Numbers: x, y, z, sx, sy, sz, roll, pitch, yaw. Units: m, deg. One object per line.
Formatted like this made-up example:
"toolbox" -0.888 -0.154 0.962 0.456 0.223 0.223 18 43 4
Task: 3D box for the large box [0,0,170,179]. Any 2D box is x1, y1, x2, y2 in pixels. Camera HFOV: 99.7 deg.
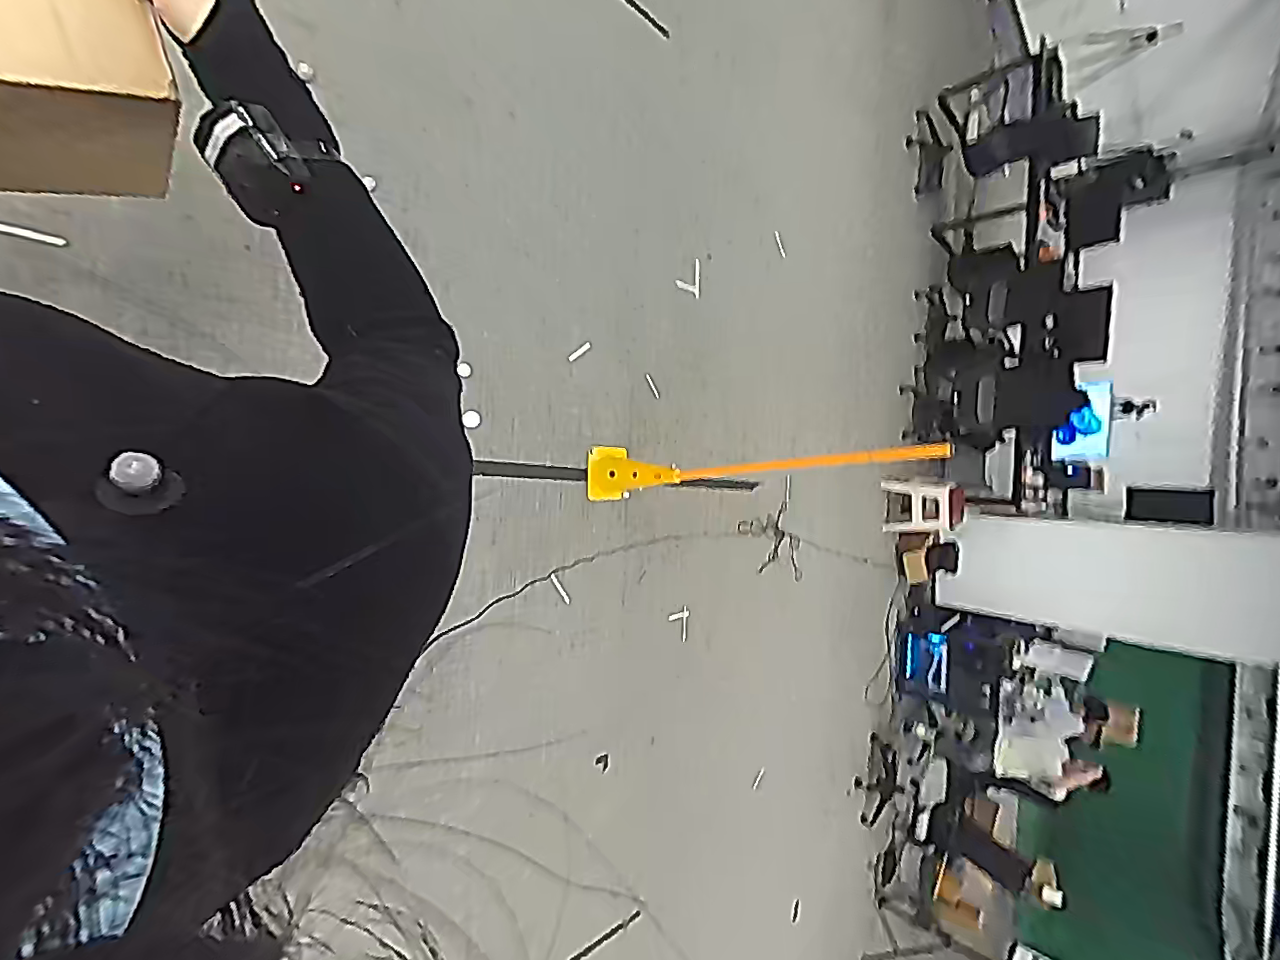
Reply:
"large box" -0.599 -0.390 0.329 0.408 0.320 0.320 -22 113 -37
